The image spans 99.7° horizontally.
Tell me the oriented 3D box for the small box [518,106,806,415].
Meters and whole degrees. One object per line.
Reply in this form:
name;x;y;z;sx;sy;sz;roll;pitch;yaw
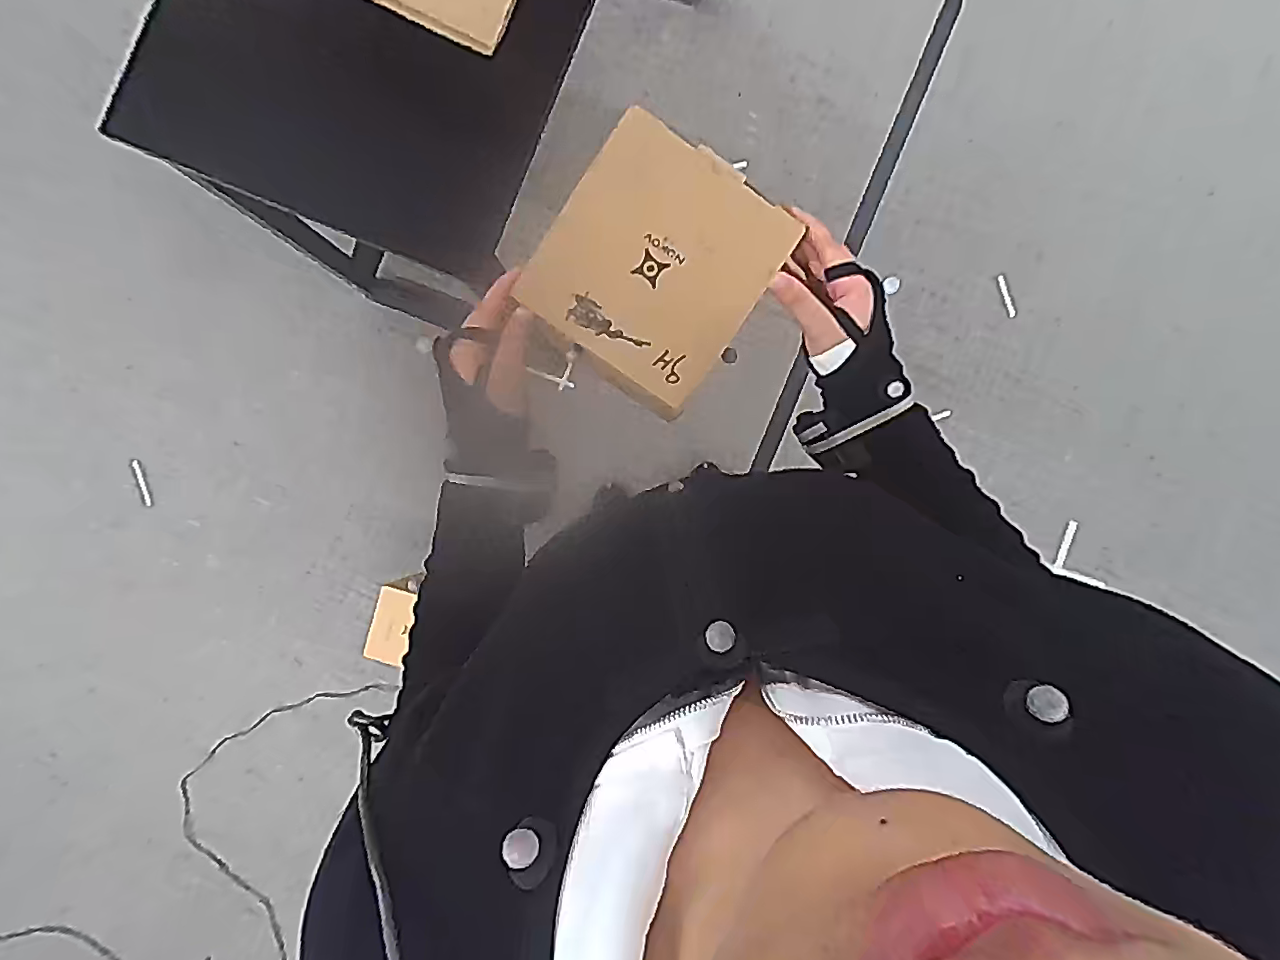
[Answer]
small box;0.016;-0.178;0.501;0.168;0.176;0.179;35;92;-2

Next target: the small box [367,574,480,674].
small box;-0.499;0.331;1.276;0.179;0.176;0.168;15;89;2
